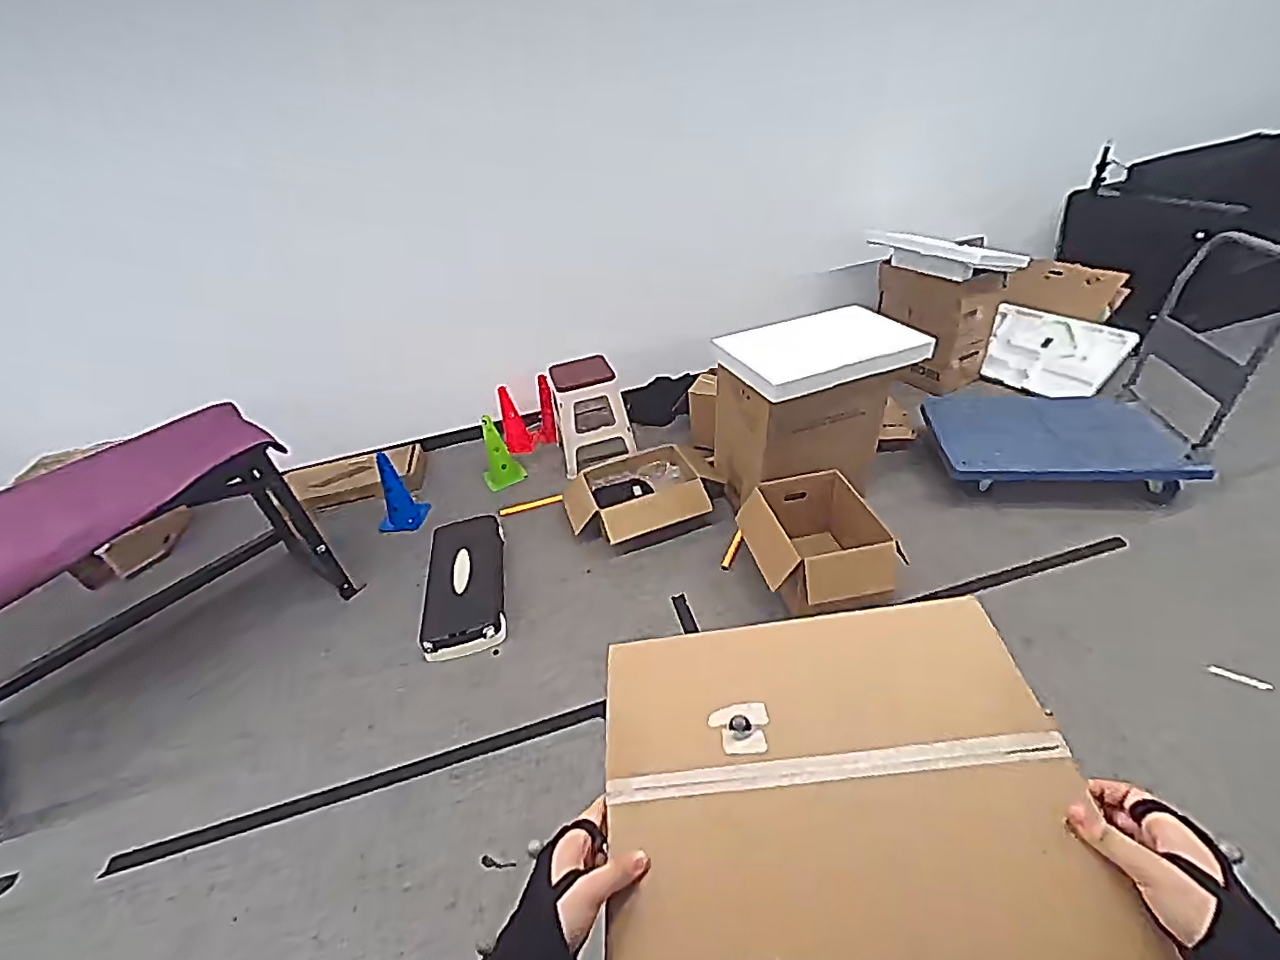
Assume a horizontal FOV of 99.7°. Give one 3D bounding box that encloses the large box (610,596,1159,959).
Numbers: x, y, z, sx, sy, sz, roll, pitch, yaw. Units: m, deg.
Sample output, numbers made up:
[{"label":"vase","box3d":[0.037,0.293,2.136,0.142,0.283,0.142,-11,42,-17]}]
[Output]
[{"label":"large box","box3d":[0.201,0.373,0.605,0.408,0.320,0.320,-11,42,8]}]
